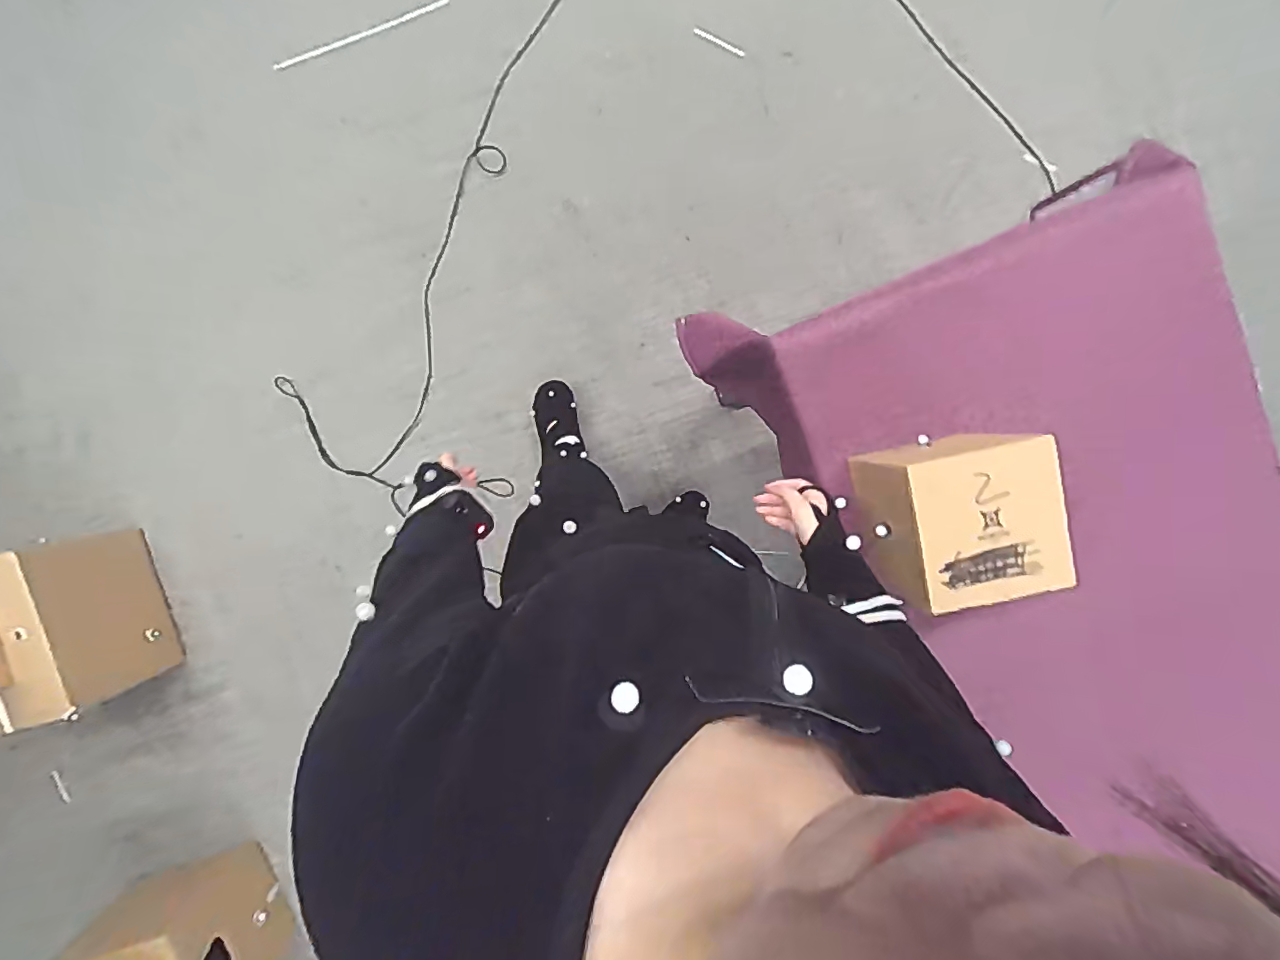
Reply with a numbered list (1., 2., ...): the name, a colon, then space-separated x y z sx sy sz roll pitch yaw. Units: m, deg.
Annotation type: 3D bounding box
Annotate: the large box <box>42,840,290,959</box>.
1. large box: -1.283 1.277 1.470 0.408 0.320 0.320 -19 95 3
